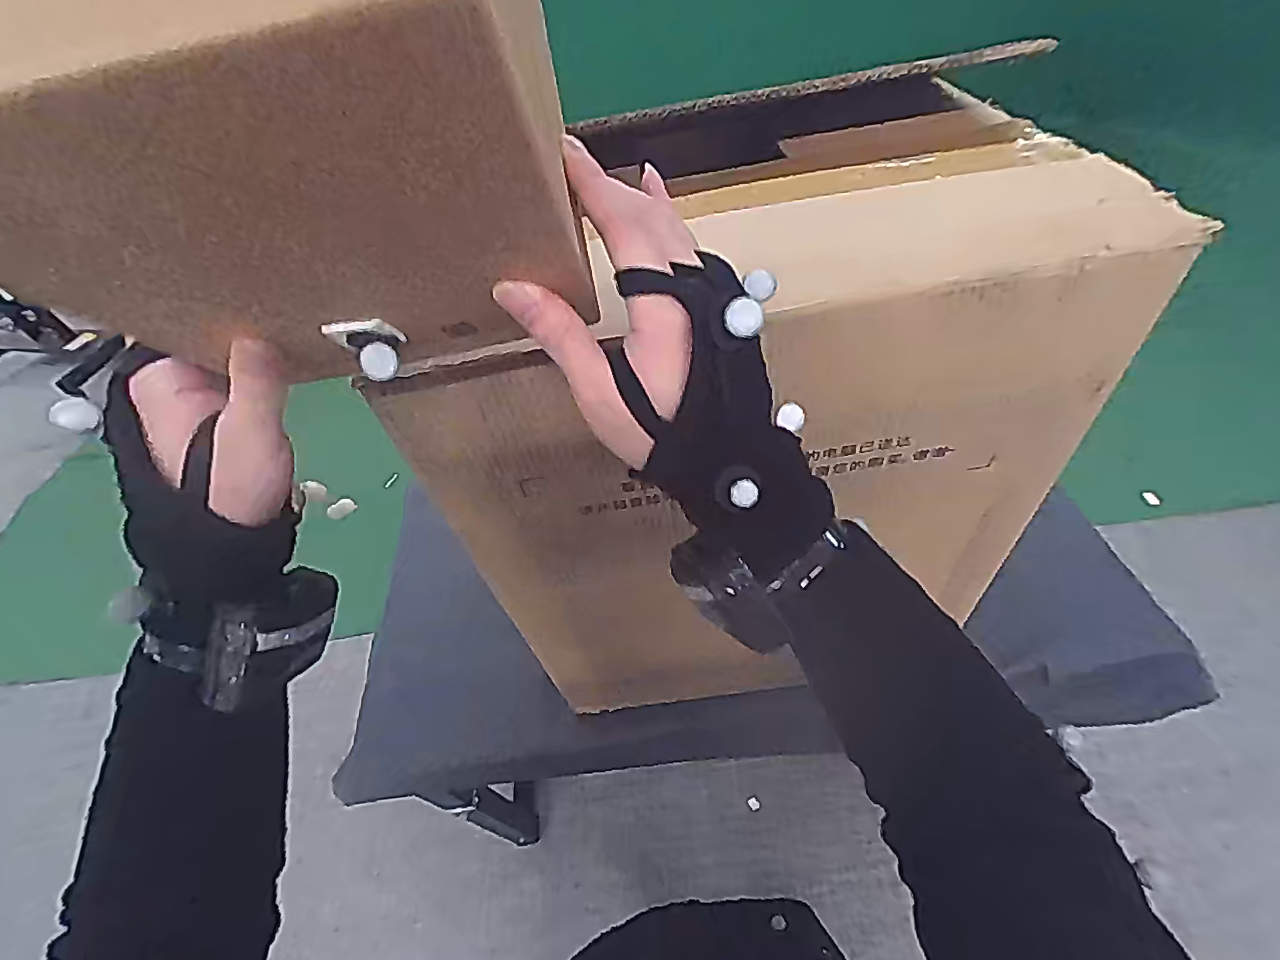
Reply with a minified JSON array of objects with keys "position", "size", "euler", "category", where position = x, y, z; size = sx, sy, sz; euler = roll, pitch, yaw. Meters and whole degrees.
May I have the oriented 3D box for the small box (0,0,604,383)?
[{"position":[-0.117,-0.157,0.202],"size":[0.168,0.176,0.179],"euler":[-13,82,2],"category":"small box"}]
